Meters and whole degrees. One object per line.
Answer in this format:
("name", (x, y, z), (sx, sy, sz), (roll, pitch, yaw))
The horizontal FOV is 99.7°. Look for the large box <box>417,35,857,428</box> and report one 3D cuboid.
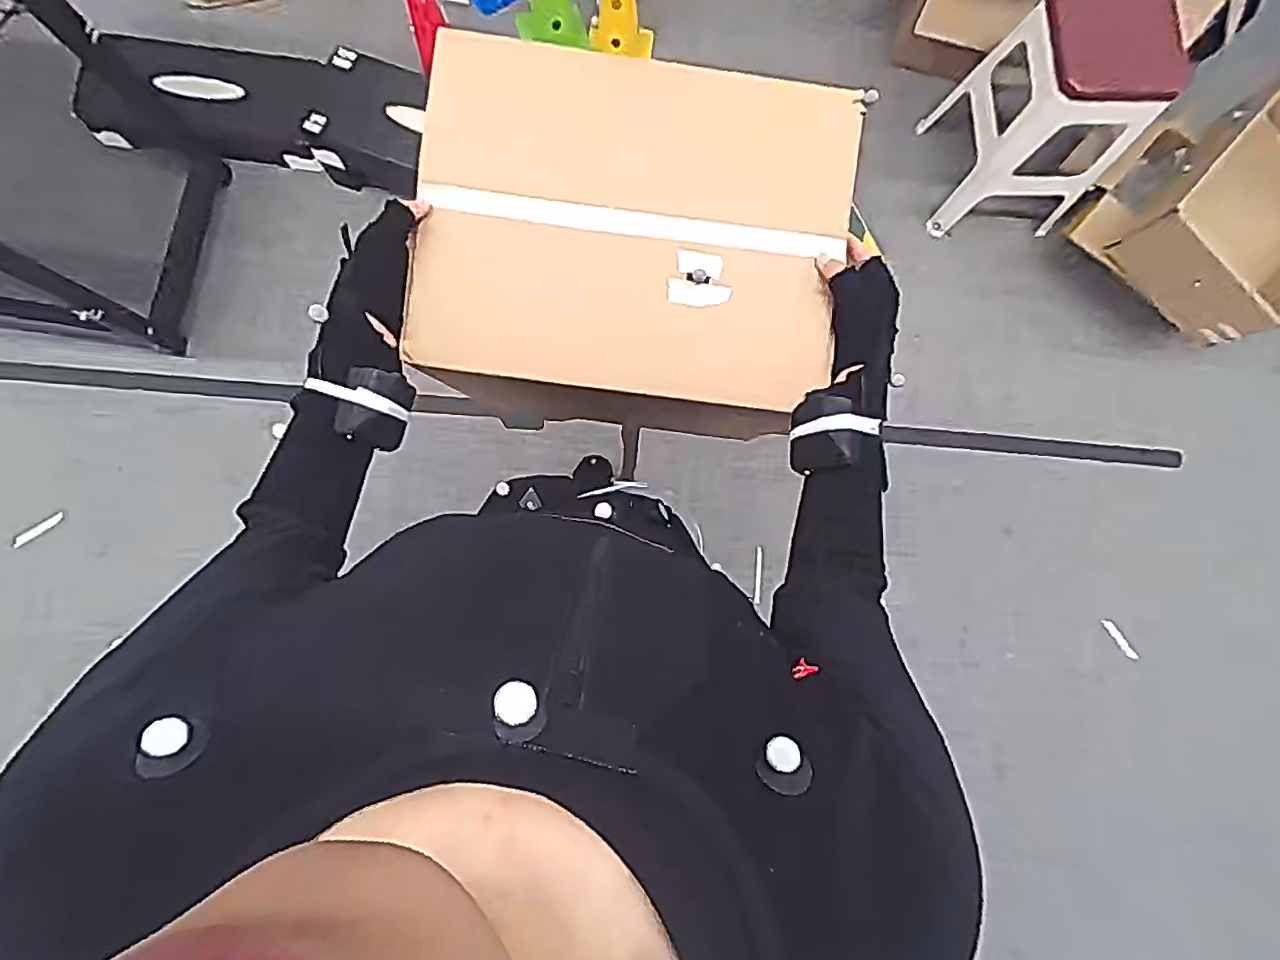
("large box", (-0.009, -0.251, 0.670), (0.408, 0.320, 0.320), (8, 91, -3))
